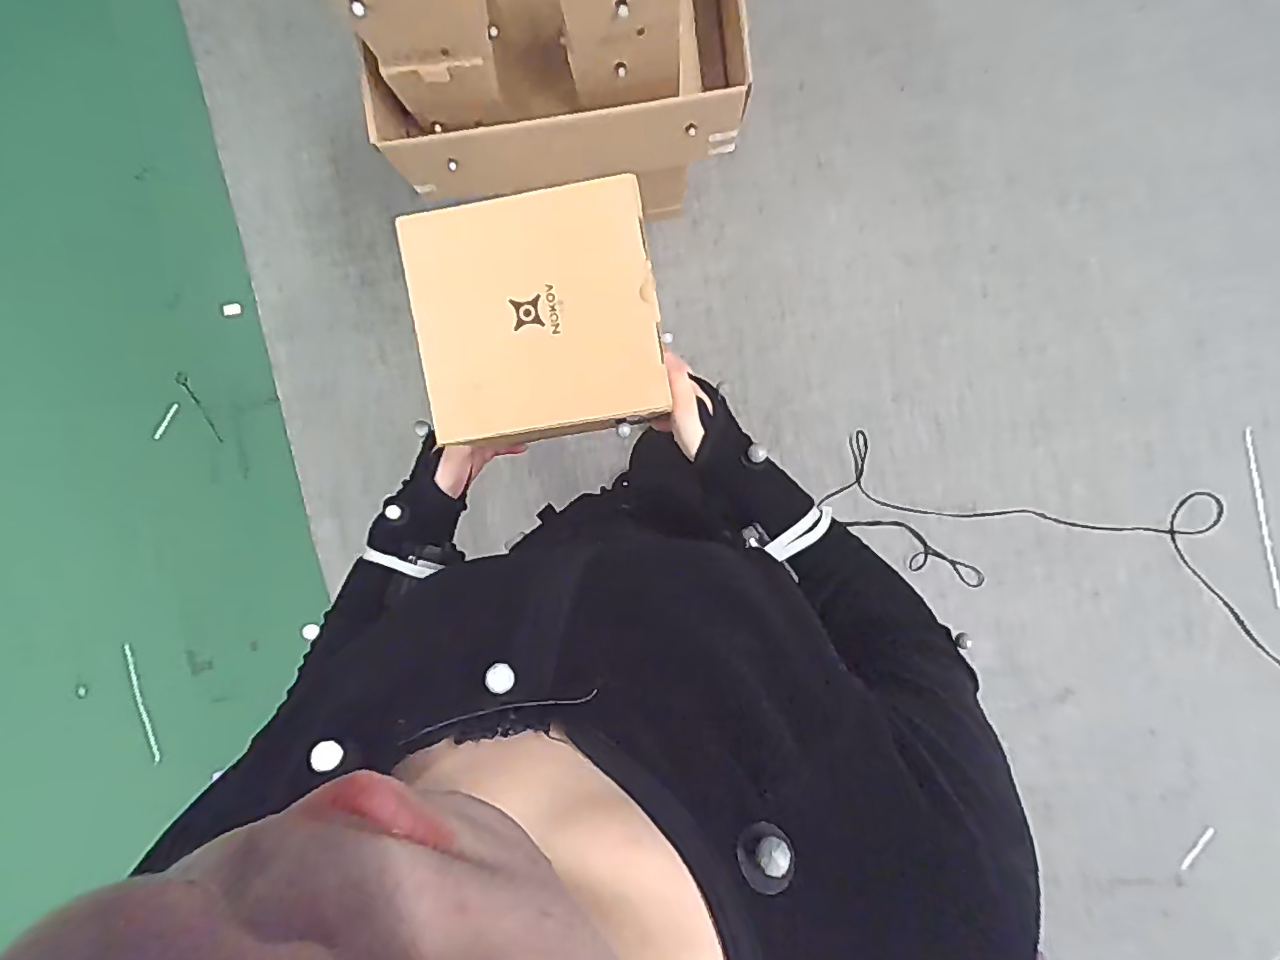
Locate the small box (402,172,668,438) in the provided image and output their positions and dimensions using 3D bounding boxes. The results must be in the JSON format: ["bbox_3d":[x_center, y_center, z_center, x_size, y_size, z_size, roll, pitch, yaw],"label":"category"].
[{"bbox_3d":[-0.073,-0.130,0.469,0.179,0.176,0.168,-9,93,1],"label":"small box"}]

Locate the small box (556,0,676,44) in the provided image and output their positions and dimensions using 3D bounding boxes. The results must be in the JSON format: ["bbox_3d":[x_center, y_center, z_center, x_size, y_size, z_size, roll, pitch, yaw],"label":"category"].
[{"bbox_3d":[-0.043,-0.728,0.720,0.168,0.176,0.179,-10,95,3],"label":"small box"}]
